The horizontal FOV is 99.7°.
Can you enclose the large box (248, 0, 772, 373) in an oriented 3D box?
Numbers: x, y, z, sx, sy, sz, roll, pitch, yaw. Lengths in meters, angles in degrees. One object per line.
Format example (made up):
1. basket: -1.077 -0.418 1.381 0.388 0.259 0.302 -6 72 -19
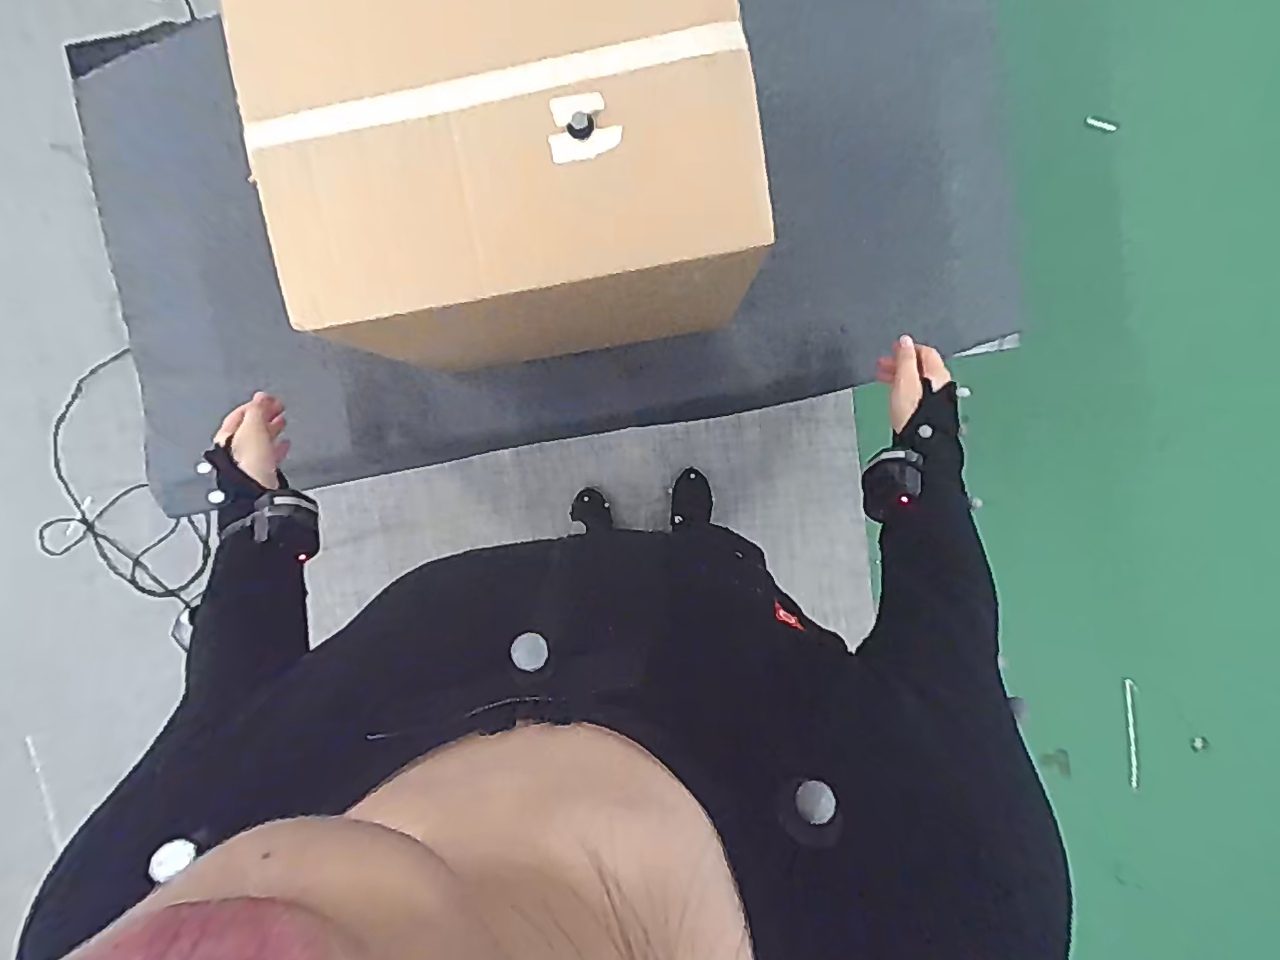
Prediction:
1. large box: -0.107 -0.323 0.595 0.408 0.320 0.320 -10 94 2
